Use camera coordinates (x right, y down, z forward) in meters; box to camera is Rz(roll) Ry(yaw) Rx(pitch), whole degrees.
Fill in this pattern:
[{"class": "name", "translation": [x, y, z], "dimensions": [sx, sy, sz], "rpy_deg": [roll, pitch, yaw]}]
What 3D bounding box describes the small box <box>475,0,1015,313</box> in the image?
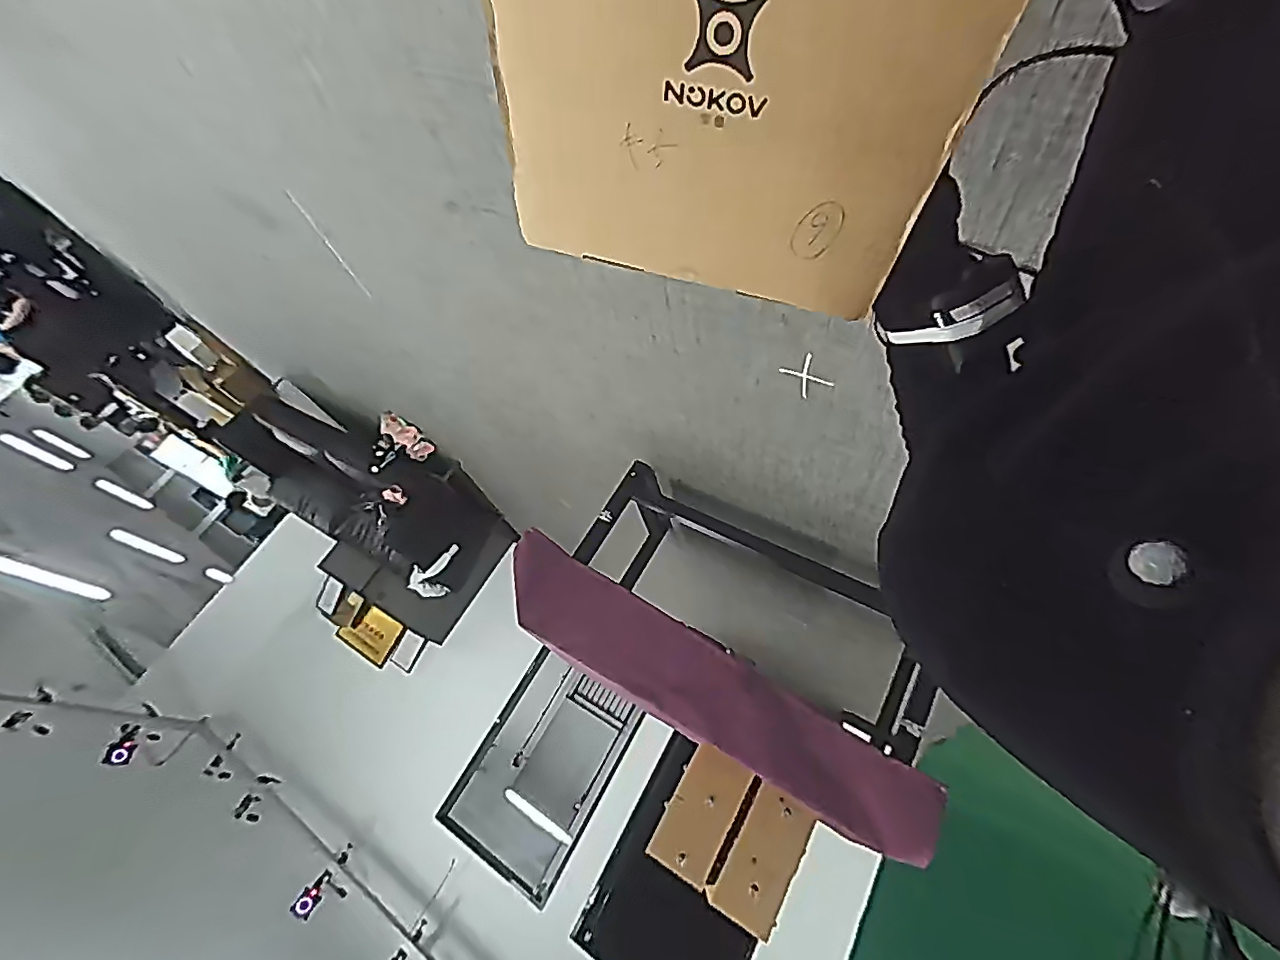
[{"class": "small box", "translation": [0.045, -0.205, 0.216], "dimensions": [0.168, 0.176, 0.179], "rpy_deg": [15, 148, 5]}]
